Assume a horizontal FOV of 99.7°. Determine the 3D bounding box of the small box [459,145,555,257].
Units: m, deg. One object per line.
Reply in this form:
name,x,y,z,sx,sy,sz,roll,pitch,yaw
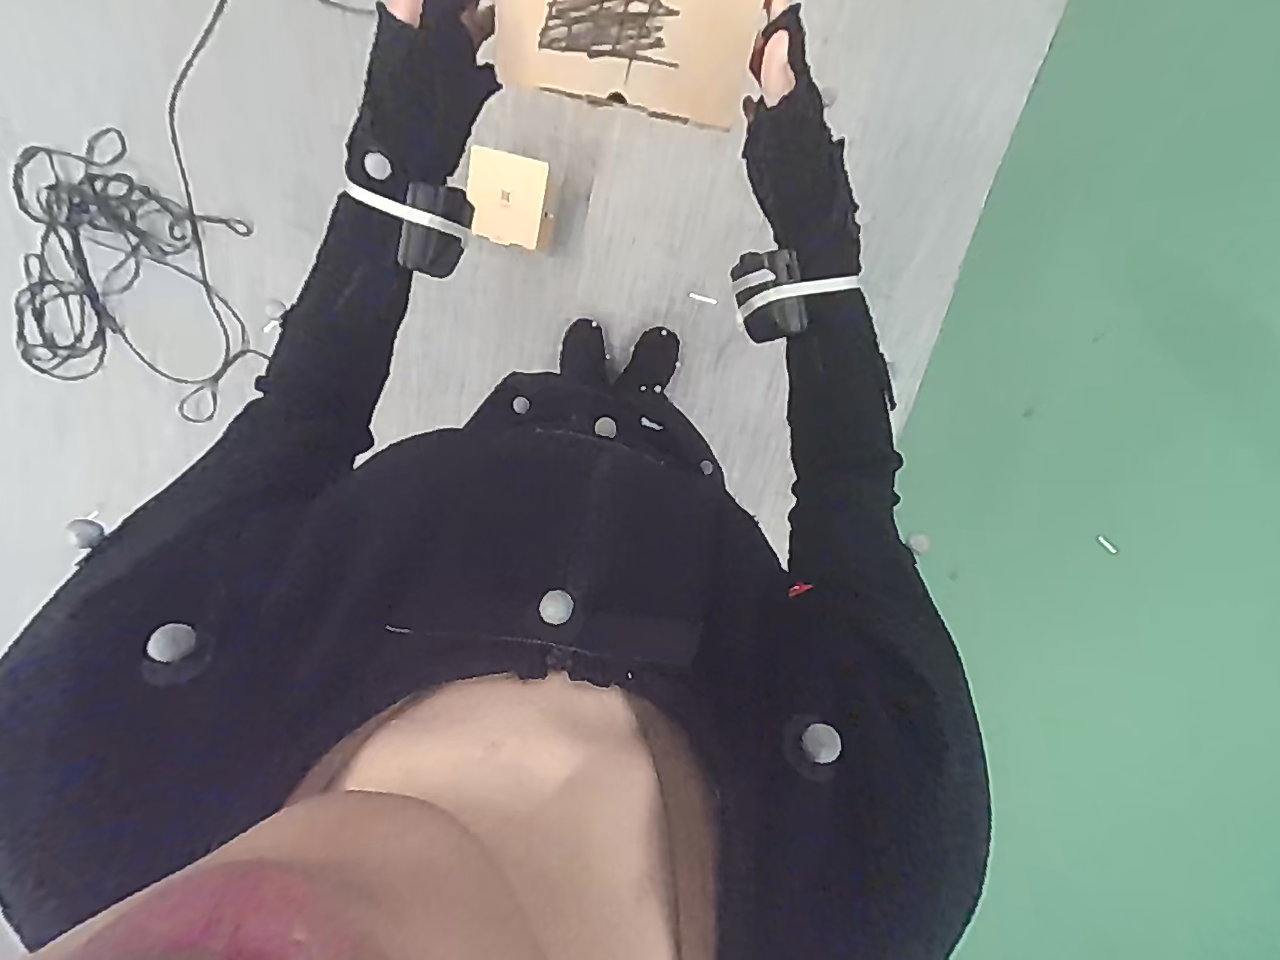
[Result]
small box,-0.295,-0.624,1.229,0.168,0.176,0.179,13,107,-3
